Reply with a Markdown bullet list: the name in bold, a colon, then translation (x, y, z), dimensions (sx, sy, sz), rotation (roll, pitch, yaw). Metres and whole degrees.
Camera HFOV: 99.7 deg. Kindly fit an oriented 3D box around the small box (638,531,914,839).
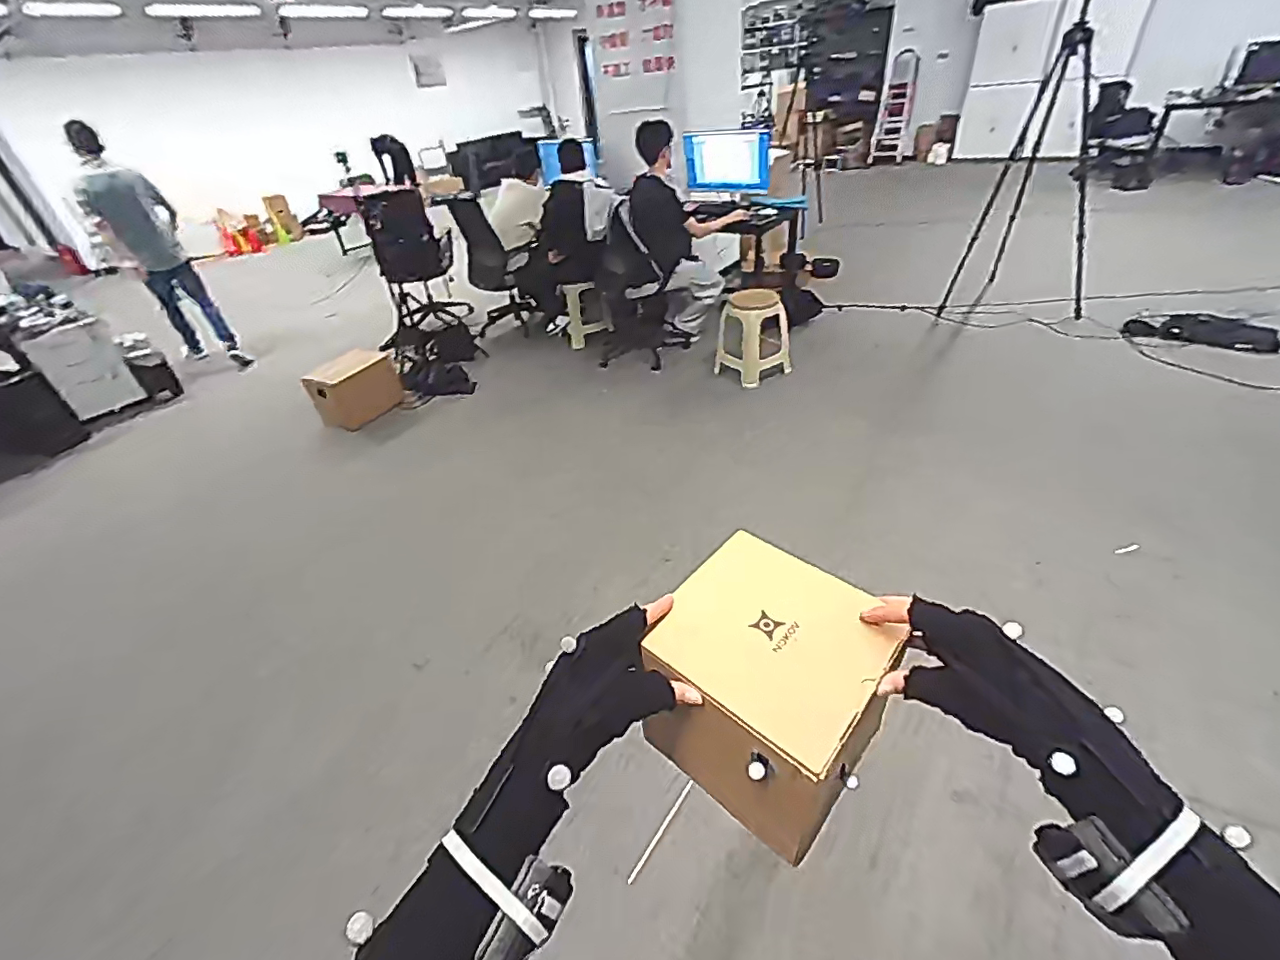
- **small box**: translation (0.116, 0.185, 0.507), dimensions (0.179, 0.176, 0.168), rotation (30, 49, 34)
